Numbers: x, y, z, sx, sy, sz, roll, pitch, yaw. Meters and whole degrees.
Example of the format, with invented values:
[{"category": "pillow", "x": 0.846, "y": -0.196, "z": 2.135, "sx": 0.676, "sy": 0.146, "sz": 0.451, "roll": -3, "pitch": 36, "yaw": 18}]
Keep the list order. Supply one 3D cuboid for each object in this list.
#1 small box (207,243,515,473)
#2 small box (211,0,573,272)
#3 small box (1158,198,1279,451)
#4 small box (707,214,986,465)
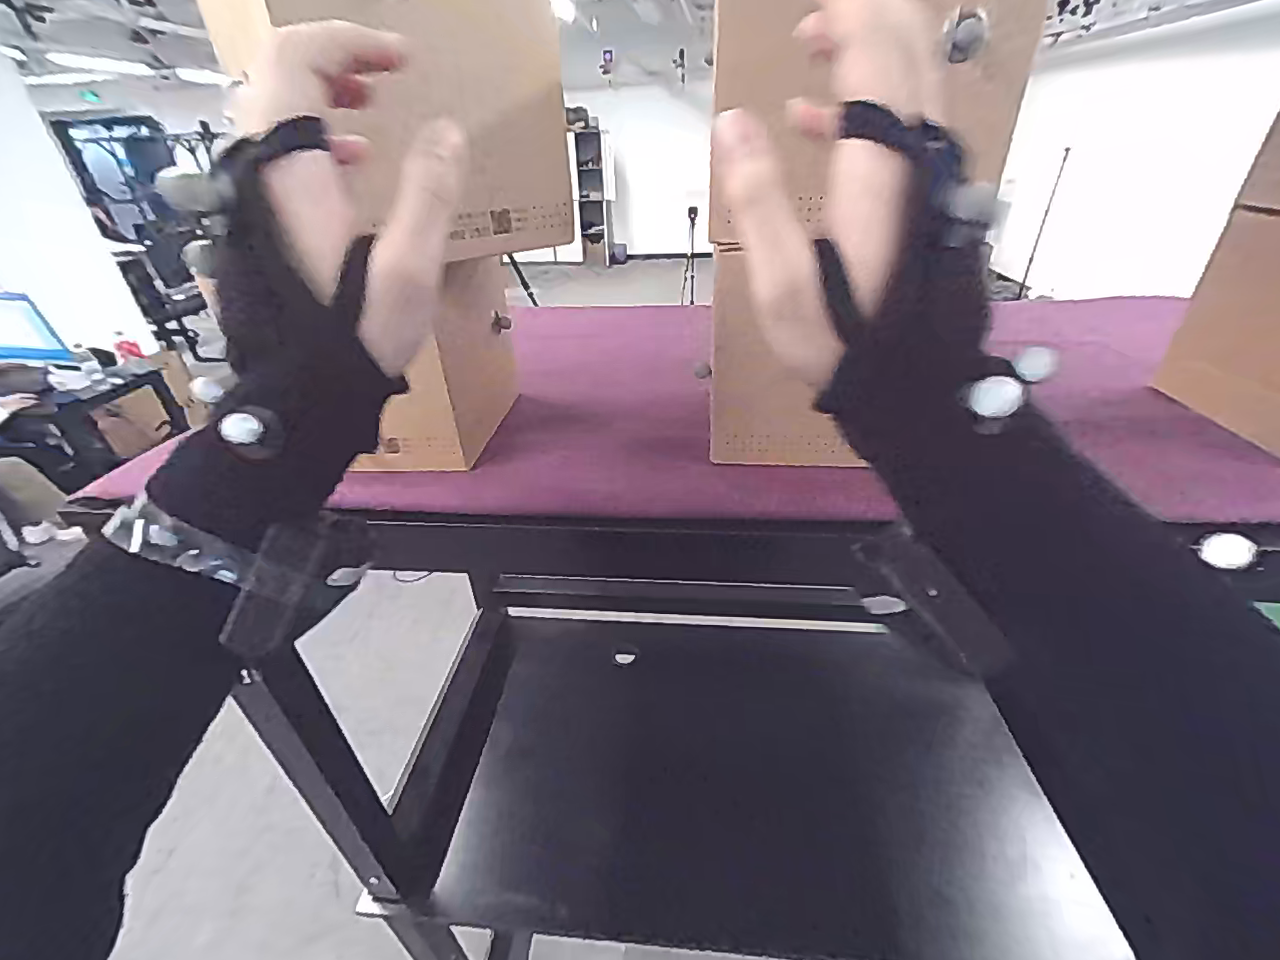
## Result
[{"category": "small box", "x": -0.219, "y": -0.121, "z": 0.487, "sx": 0.168, "sy": 0.176, "sz": 0.179, "roll": 0, "pitch": 31, "yaw": 5}, {"category": "small box", "x": -0.166, "y": -0.249, "z": 0.380, "sx": 0.168, "sy": 0.176, "sz": 0.179, "roll": -26, "pitch": 38, "yaw": -32}, {"category": "small box", "x": 0.578, "y": -0.120, "z": 0.423, "sx": 0.168, "sy": 0.176, "sz": 0.179, "roll": 1, "pitch": 33, "yaw": 7}, {"category": "small box", "x": 0.149, "y": -0.122, "z": 0.461, "sx": 0.179, "sy": 0.176, "sz": 0.168, "roll": 1, "pitch": 31, "yaw": 8}]
